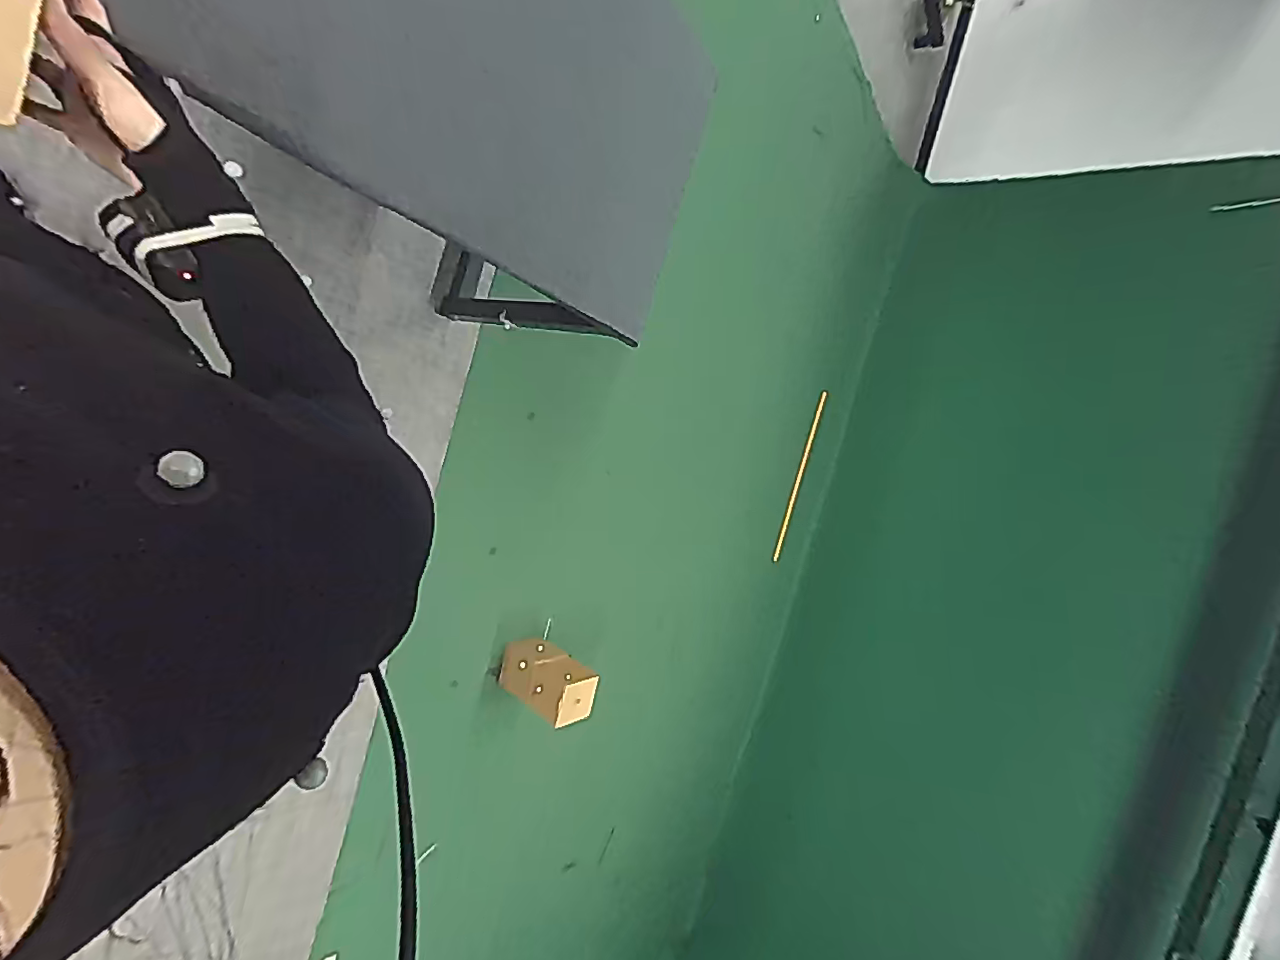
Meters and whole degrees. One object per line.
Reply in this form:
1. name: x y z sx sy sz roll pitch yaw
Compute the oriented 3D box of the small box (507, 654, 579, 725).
1. small box: -0.358 0.765 1.999 0.179 0.176 0.168 7 99 -53
